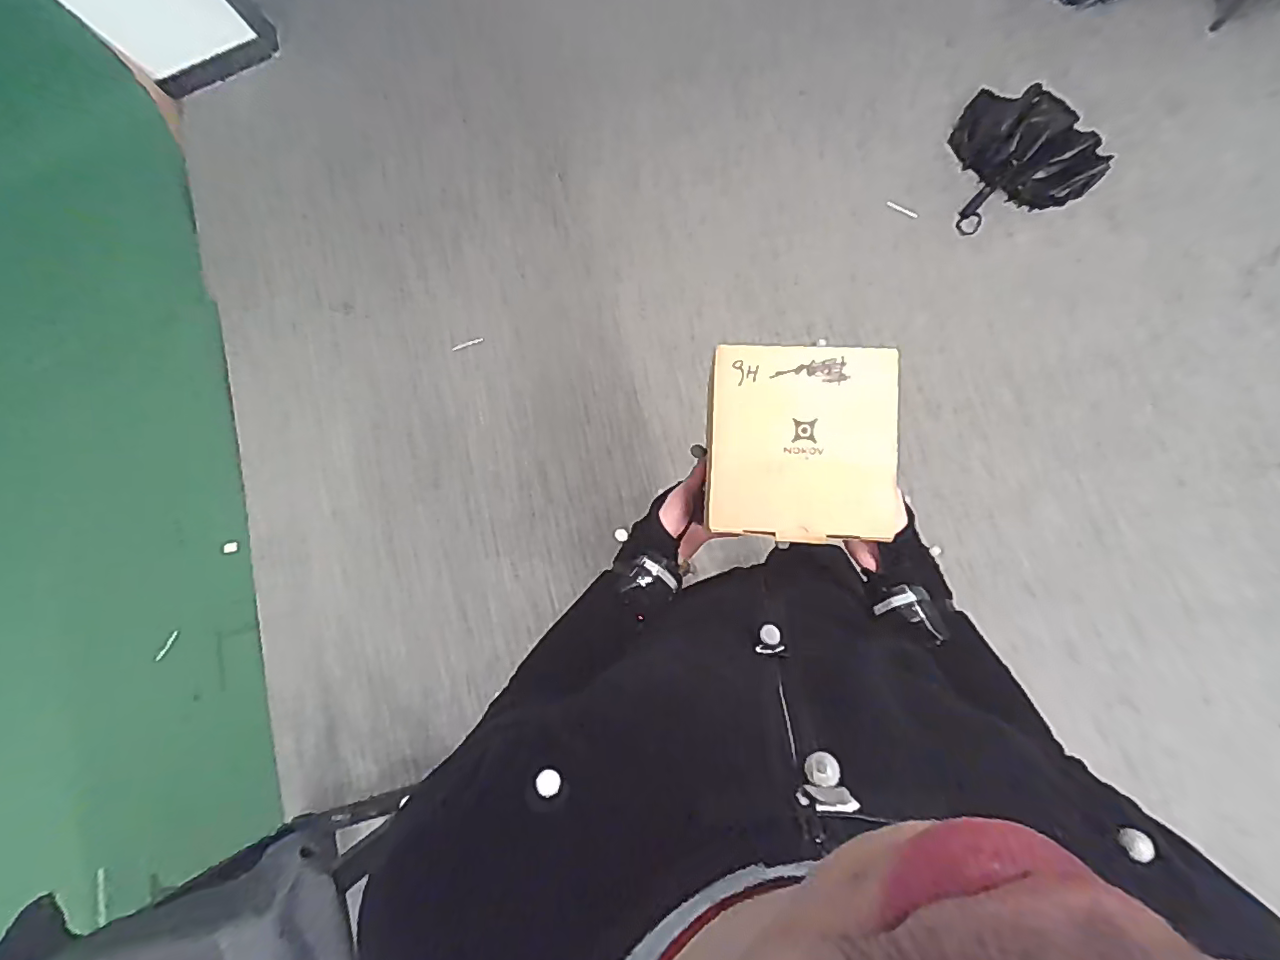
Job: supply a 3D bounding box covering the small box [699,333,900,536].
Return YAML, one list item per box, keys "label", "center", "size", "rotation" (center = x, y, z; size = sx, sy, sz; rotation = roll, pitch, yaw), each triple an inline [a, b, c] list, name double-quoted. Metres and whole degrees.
- label: "small box"
  center: [0.149, -0.039, 0.560]
  size: [0.168, 0.176, 0.179]
  rotation: [3, 87, 4]
